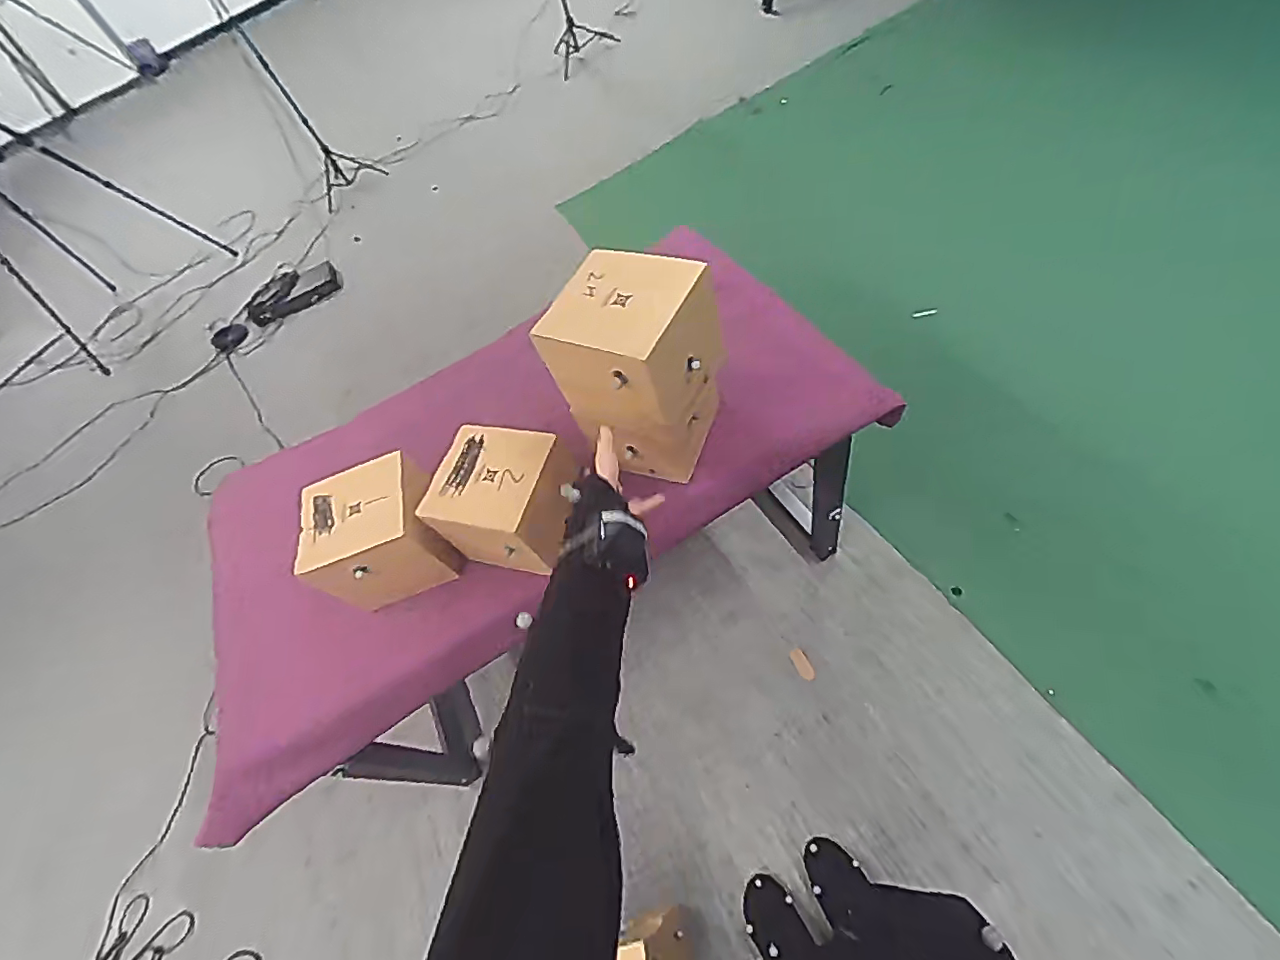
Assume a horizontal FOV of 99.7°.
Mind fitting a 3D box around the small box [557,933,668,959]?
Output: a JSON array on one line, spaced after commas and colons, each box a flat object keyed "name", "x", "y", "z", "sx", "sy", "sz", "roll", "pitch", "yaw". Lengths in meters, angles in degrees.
[{"name": "small box", "x": -0.039, "y": 0.926, "z": 0.944, "sx": 0.168, "sy": 0.176, "sz": 0.179, "roll": -15, "pitch": 55, "yaw": 8}]

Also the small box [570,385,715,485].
[{"name": "small box", "x": 0.016, "y": -0.113, "z": 0.892, "sx": 0.168, "sy": 0.176, "sz": 0.179, "roll": 12, "pitch": 63, "yaw": 23}]

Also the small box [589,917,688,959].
[{"name": "small box", "x": 0.006, "y": 1.003, "z": 1.079, "sx": 0.168, "sy": 0.176, "sz": 0.179, "roll": -20, "pitch": 56, "yaw": 4}]

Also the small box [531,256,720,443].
[{"name": "small box", "x": -0.007, "y": -0.172, "z": 0.734, "sx": 0.179, "sy": 0.176, "sz": 0.168, "roll": 19, "pitch": 65, "yaw": 28}]
